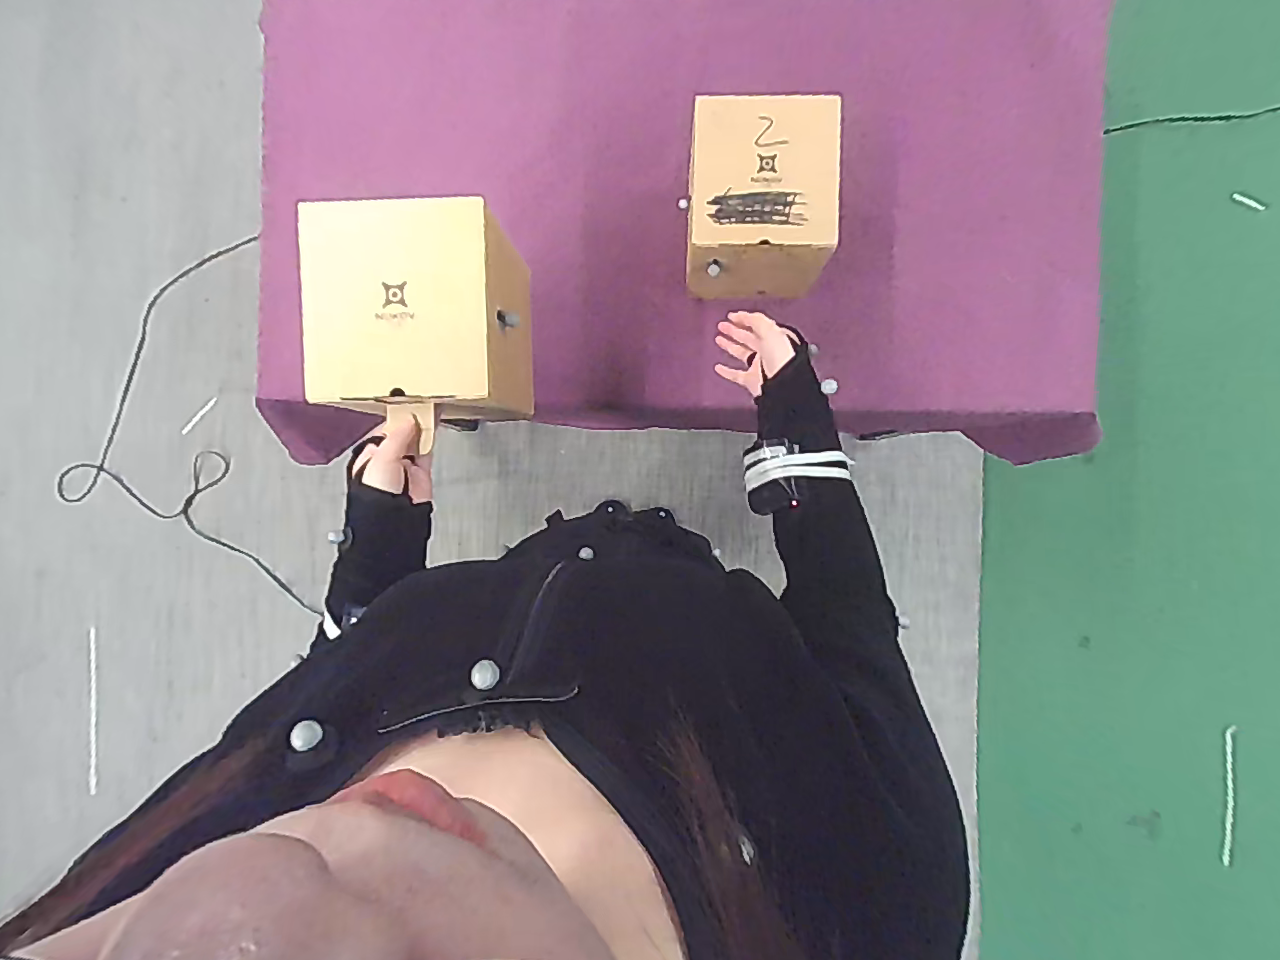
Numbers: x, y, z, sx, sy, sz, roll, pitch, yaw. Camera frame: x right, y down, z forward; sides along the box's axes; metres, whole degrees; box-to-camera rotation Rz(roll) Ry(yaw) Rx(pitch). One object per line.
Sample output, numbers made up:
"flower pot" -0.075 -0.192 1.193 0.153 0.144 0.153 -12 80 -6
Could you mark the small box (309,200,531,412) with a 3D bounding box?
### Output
"small box" -0.215 -0.167 0.568 0.168 0.176 0.179 -1 93 1
